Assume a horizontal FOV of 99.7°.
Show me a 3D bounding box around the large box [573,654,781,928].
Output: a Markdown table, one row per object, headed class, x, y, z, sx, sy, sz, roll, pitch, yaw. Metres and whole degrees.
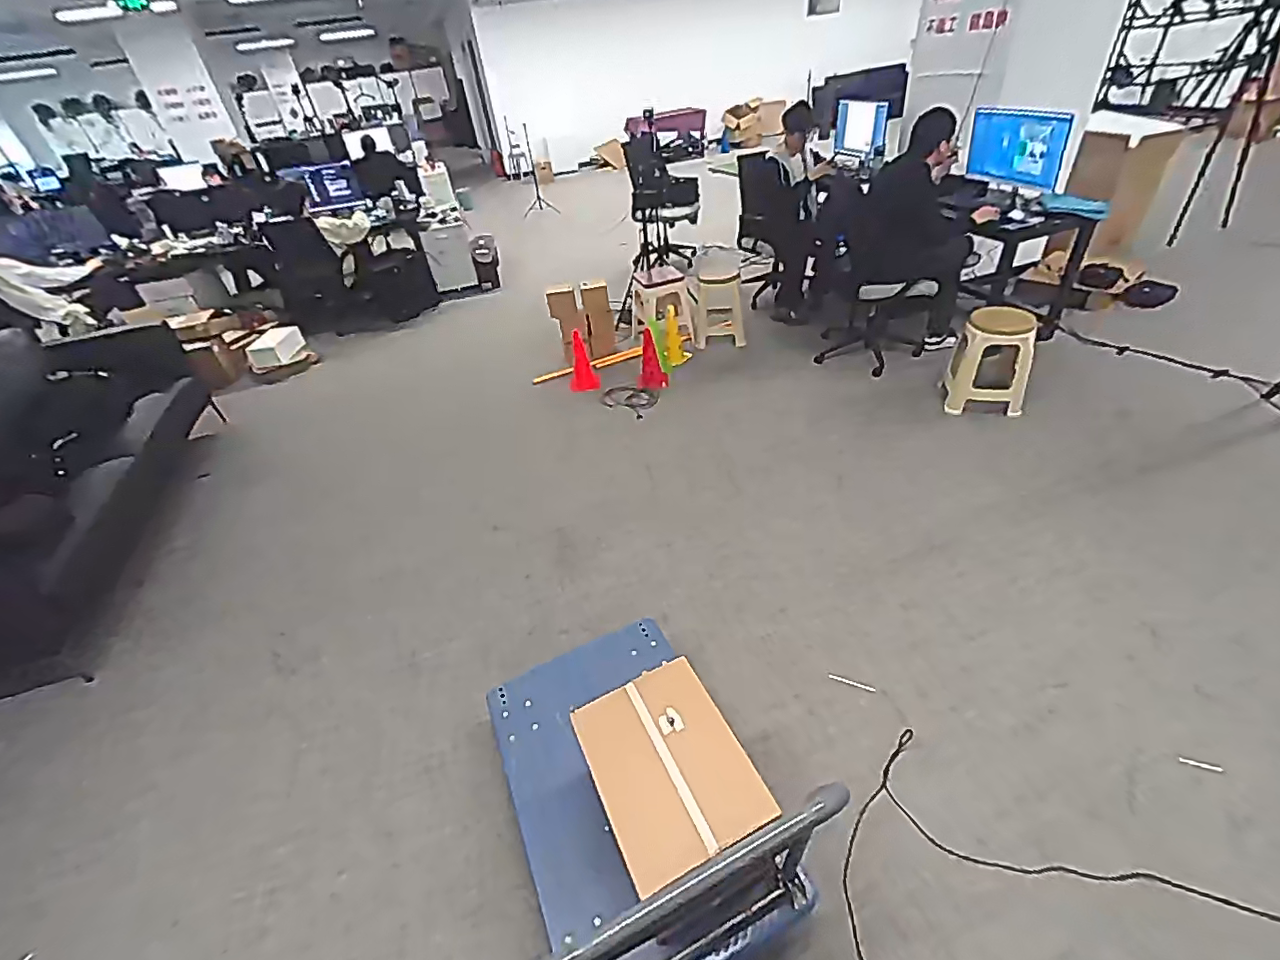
| class | x | y | z | sx | sy | sz | roll | pitch | yaw |
| --- | --- | --- | --- | --- | --- | --- | --- | --- | --- |
| large box | 0.082 | 0.708 | 1.265 | 0.320 | 0.320 | 0.408 | -21 | 40 | -16 |
